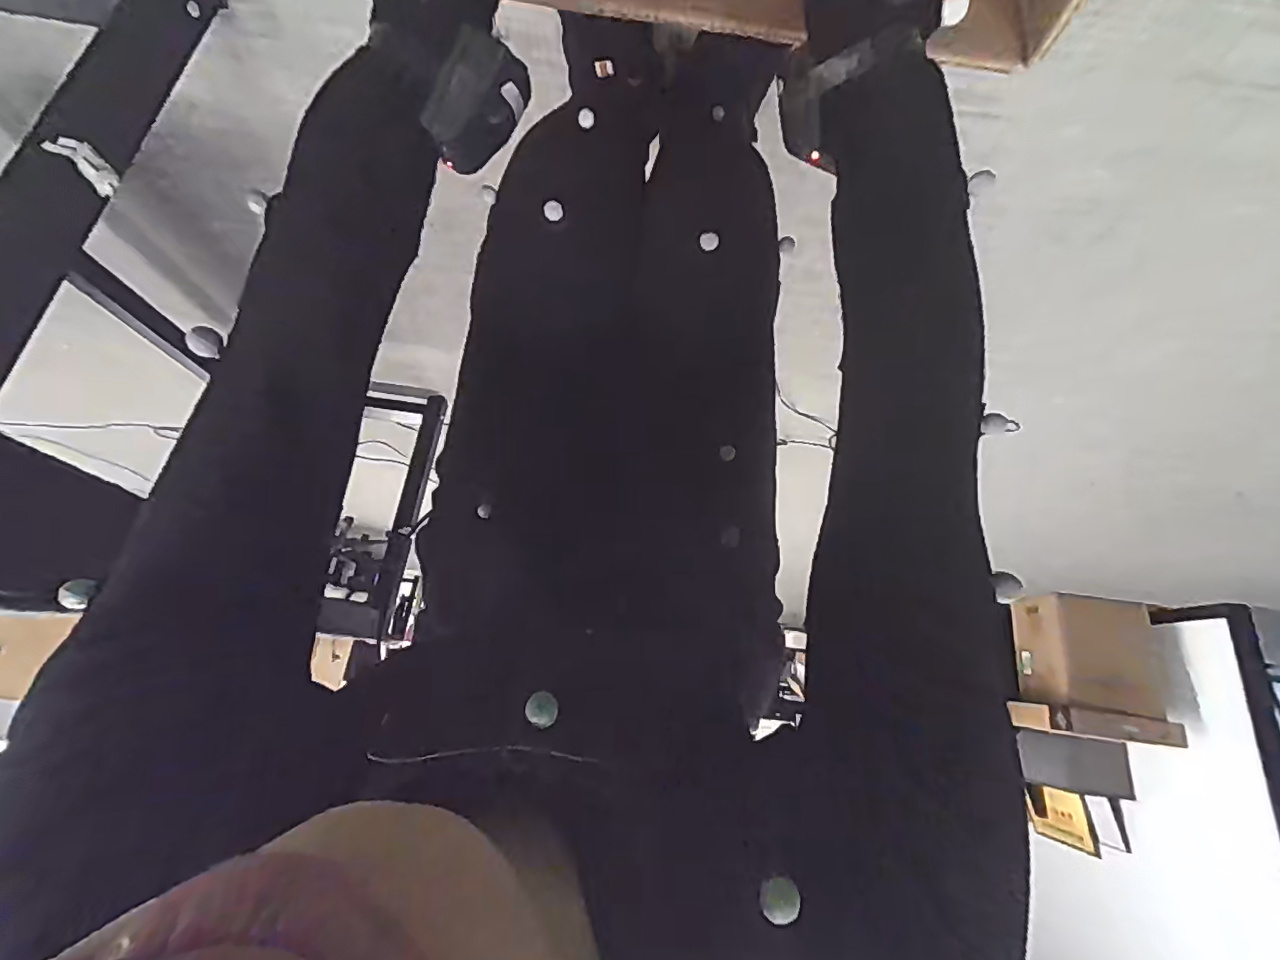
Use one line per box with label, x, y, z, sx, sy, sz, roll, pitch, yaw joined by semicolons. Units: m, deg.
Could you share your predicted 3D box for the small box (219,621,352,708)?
small box;-0.801;0.419;1.242;0.179;0.176;0.168;7;161;-1
